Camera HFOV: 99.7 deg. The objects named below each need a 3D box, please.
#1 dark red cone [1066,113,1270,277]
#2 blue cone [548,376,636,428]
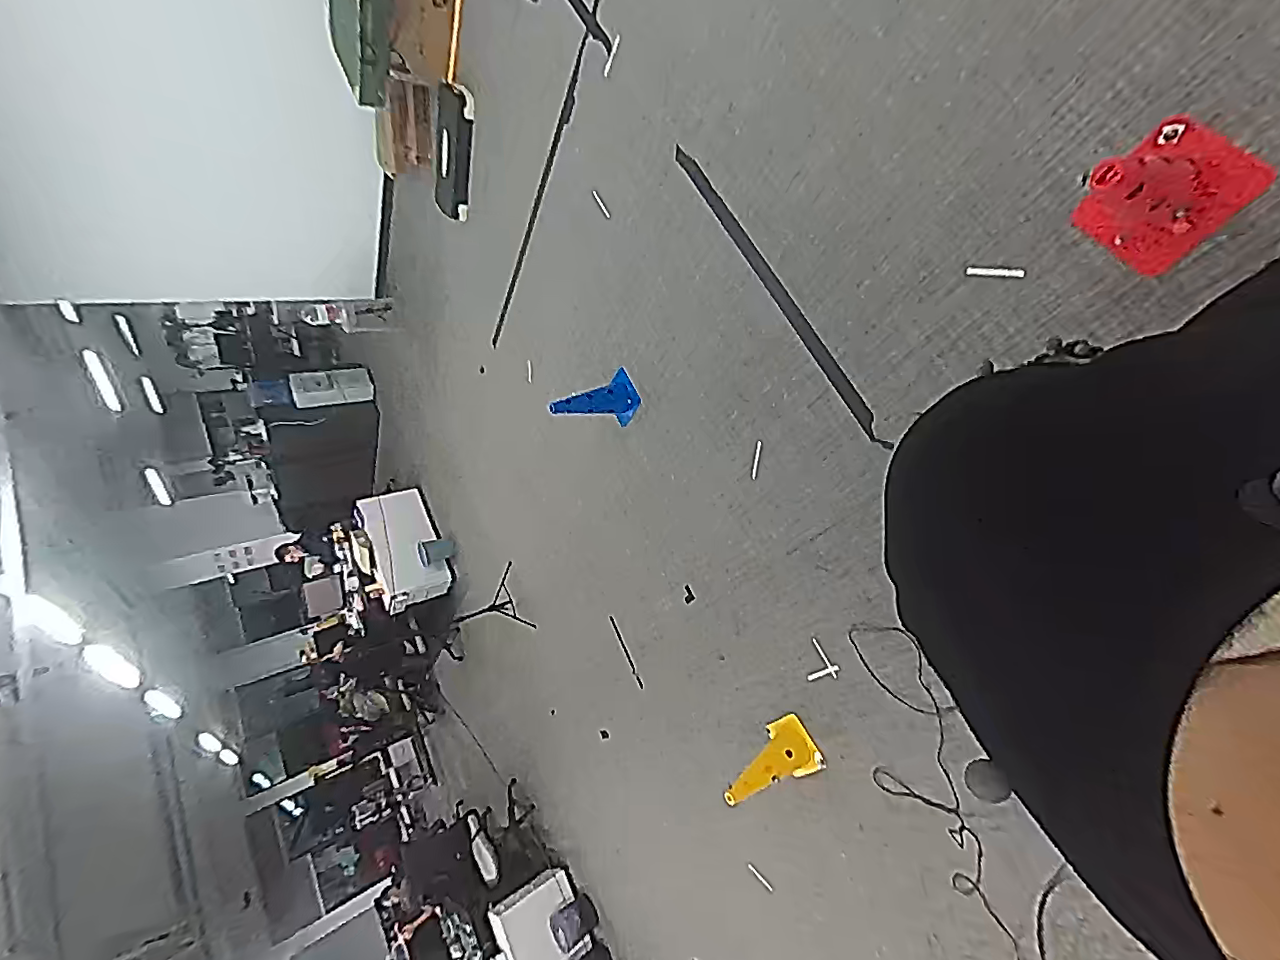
[{"bbox_3d":[0.765,-0.451,0.842,0.202,0.394,0.201,57,142,24],"label":"dark red cone"},{"bbox_3d":[-0.215,-0.310,2.298,0.193,0.380,0.192,63,144,17],"label":"blue cone"}]
